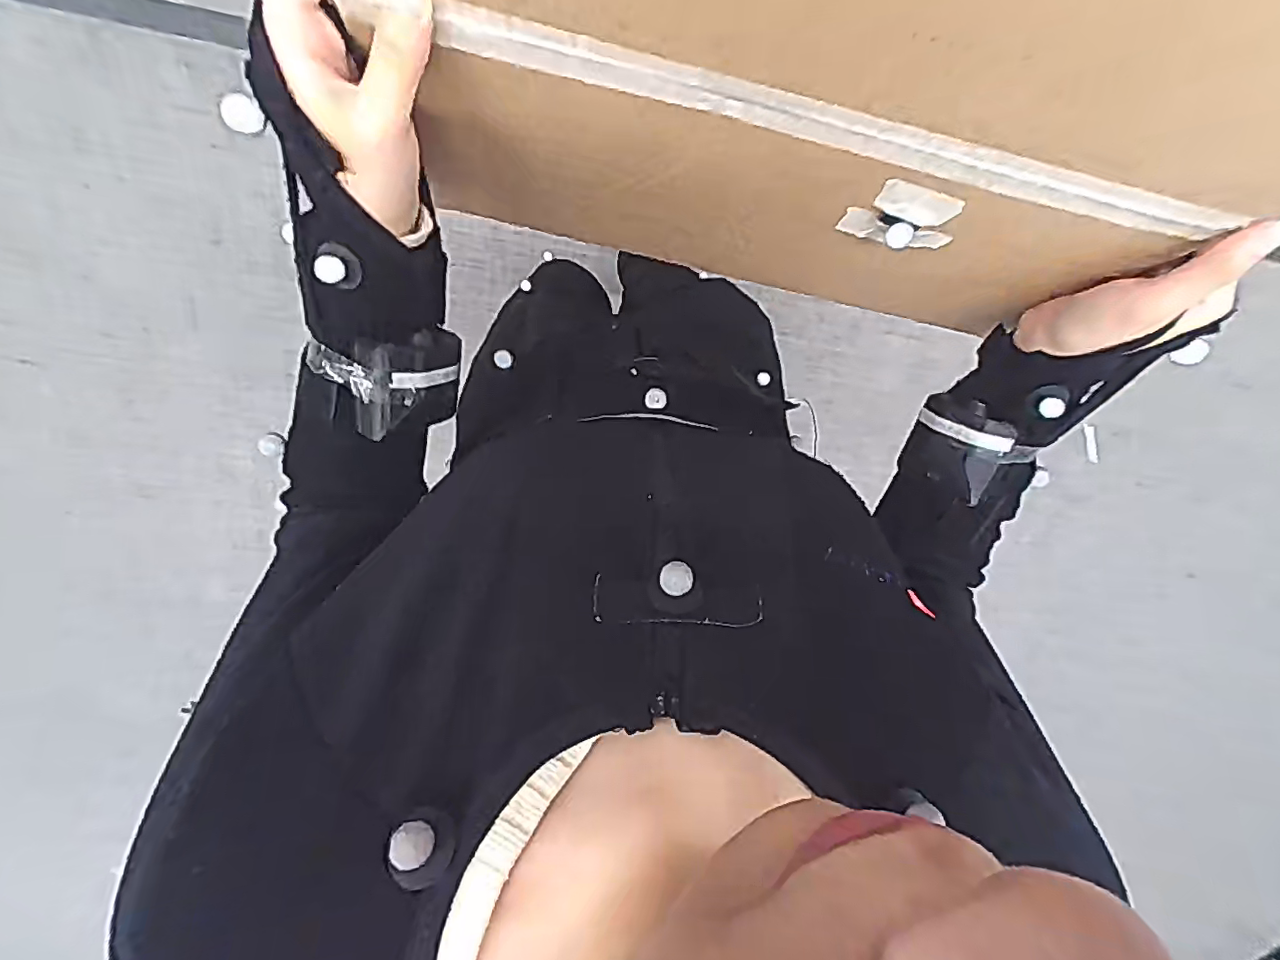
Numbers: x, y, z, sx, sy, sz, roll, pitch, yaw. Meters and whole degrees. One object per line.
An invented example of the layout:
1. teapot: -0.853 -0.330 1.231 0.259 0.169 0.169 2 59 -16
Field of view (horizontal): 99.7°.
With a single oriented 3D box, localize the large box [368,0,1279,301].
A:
1. large box: 0.109 -0.315 0.221 0.408 0.320 0.320 10 86 -6
